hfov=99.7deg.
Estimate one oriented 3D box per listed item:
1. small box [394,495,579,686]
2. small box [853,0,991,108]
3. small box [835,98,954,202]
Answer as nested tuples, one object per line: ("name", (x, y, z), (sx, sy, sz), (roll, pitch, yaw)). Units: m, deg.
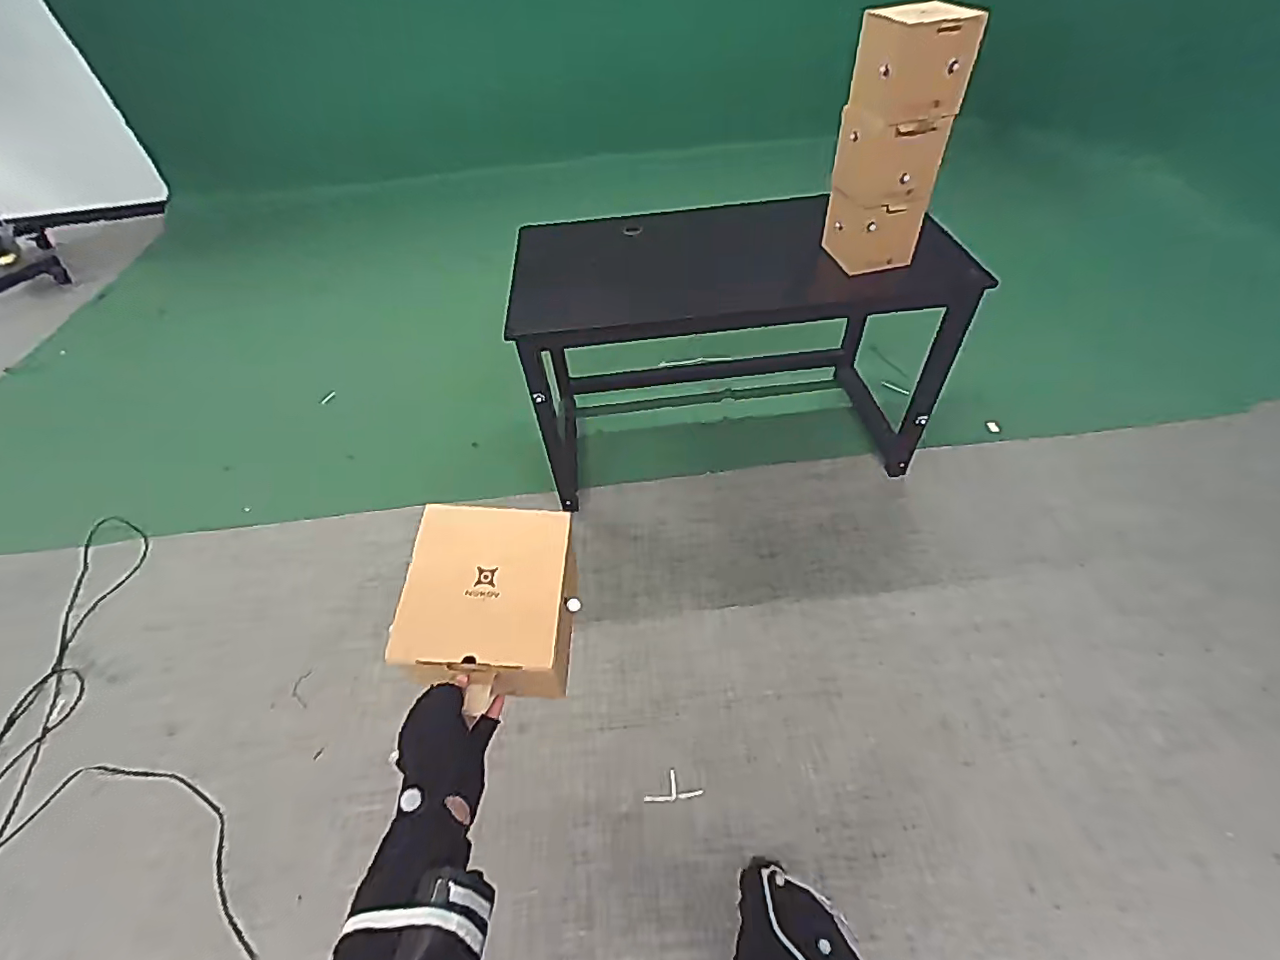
("small box", (-0.163, 0.136, 0.644), (0.168, 0.176, 0.179), (4, 61, -2))
("small box", (0.565, -0.884, 1.109), (0.168, 0.176, 0.179), (-12, 48, -5))
("small box", (0.571, -0.766, 1.244), (0.168, 0.176, 0.179), (-13, 49, -5))
